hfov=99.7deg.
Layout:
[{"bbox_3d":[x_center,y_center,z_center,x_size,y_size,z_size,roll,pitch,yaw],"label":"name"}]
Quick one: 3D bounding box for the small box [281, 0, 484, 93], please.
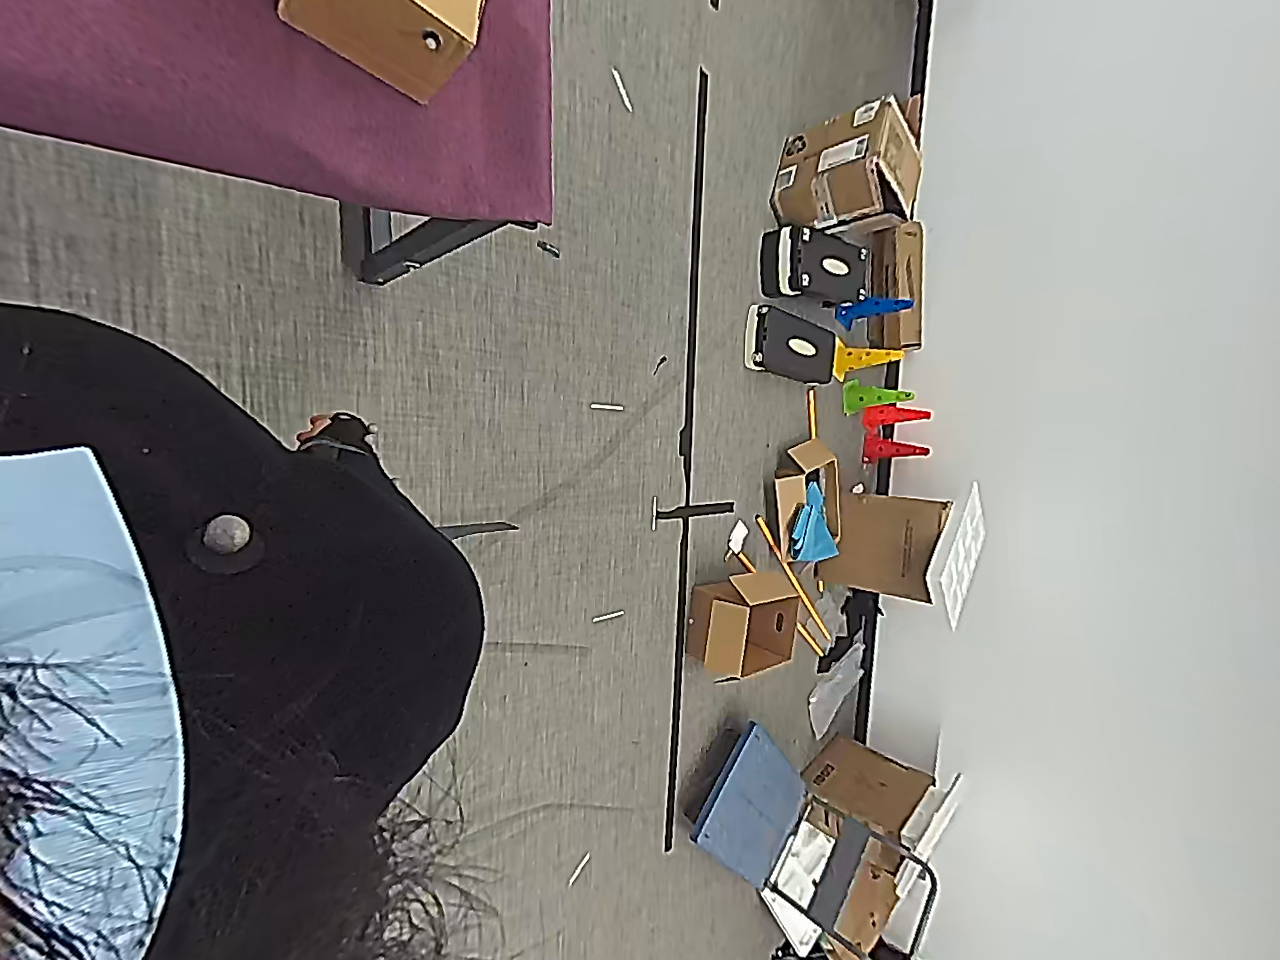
[{"bbox_3d":[-0.293,-0.601,0.625,0.179,0.176,0.168,9,90,-44],"label":"small box"}]
